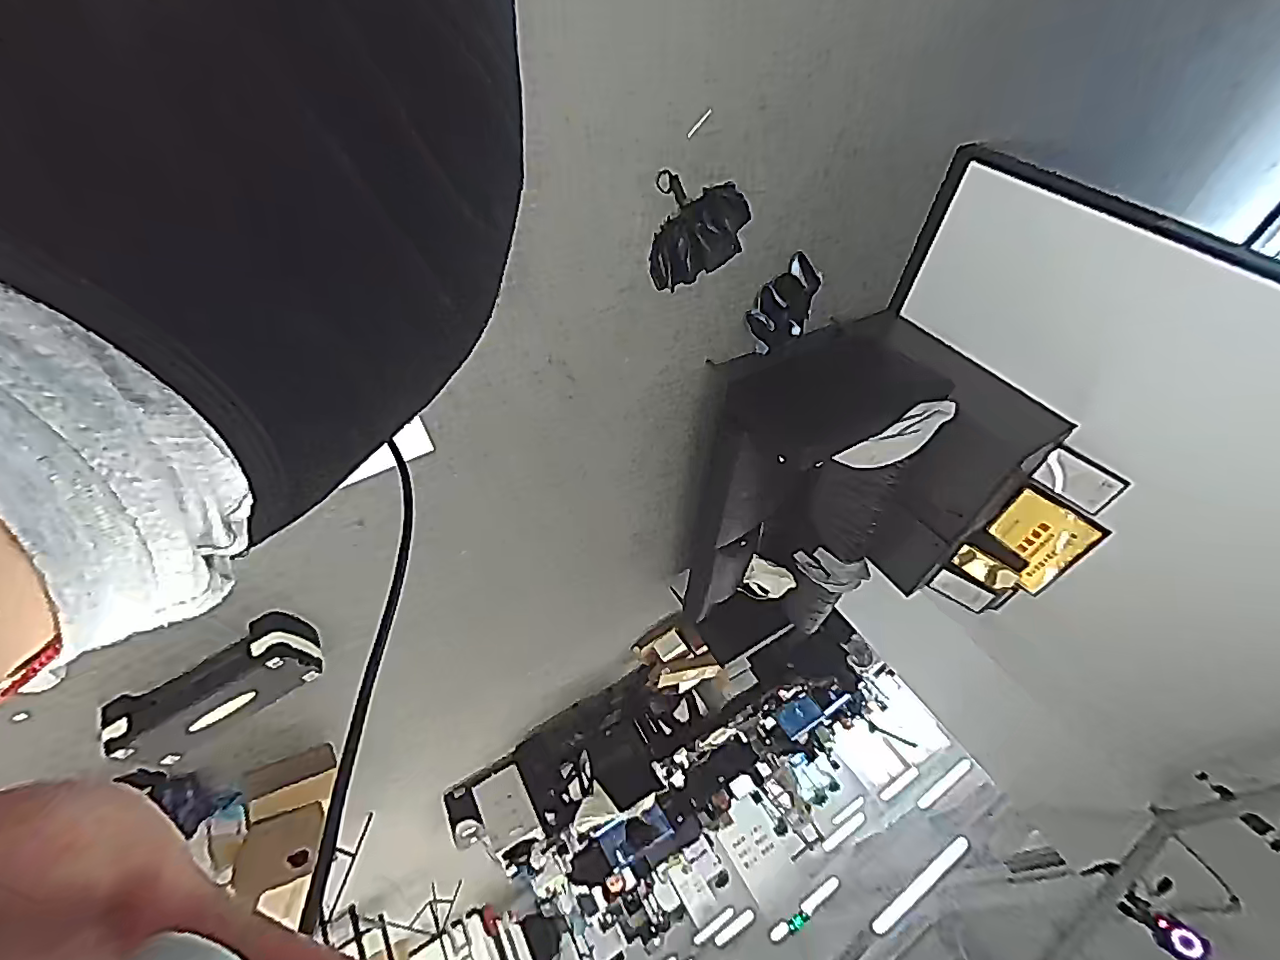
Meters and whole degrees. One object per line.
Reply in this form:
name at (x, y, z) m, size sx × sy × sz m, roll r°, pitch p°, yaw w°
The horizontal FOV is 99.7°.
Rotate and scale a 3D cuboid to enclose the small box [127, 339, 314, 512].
small box at (-0.649, -0.087, 0.848) m, size 0.168 × 0.176 × 0.179 m, roll -27°, pitch 148°, yaw -20°
